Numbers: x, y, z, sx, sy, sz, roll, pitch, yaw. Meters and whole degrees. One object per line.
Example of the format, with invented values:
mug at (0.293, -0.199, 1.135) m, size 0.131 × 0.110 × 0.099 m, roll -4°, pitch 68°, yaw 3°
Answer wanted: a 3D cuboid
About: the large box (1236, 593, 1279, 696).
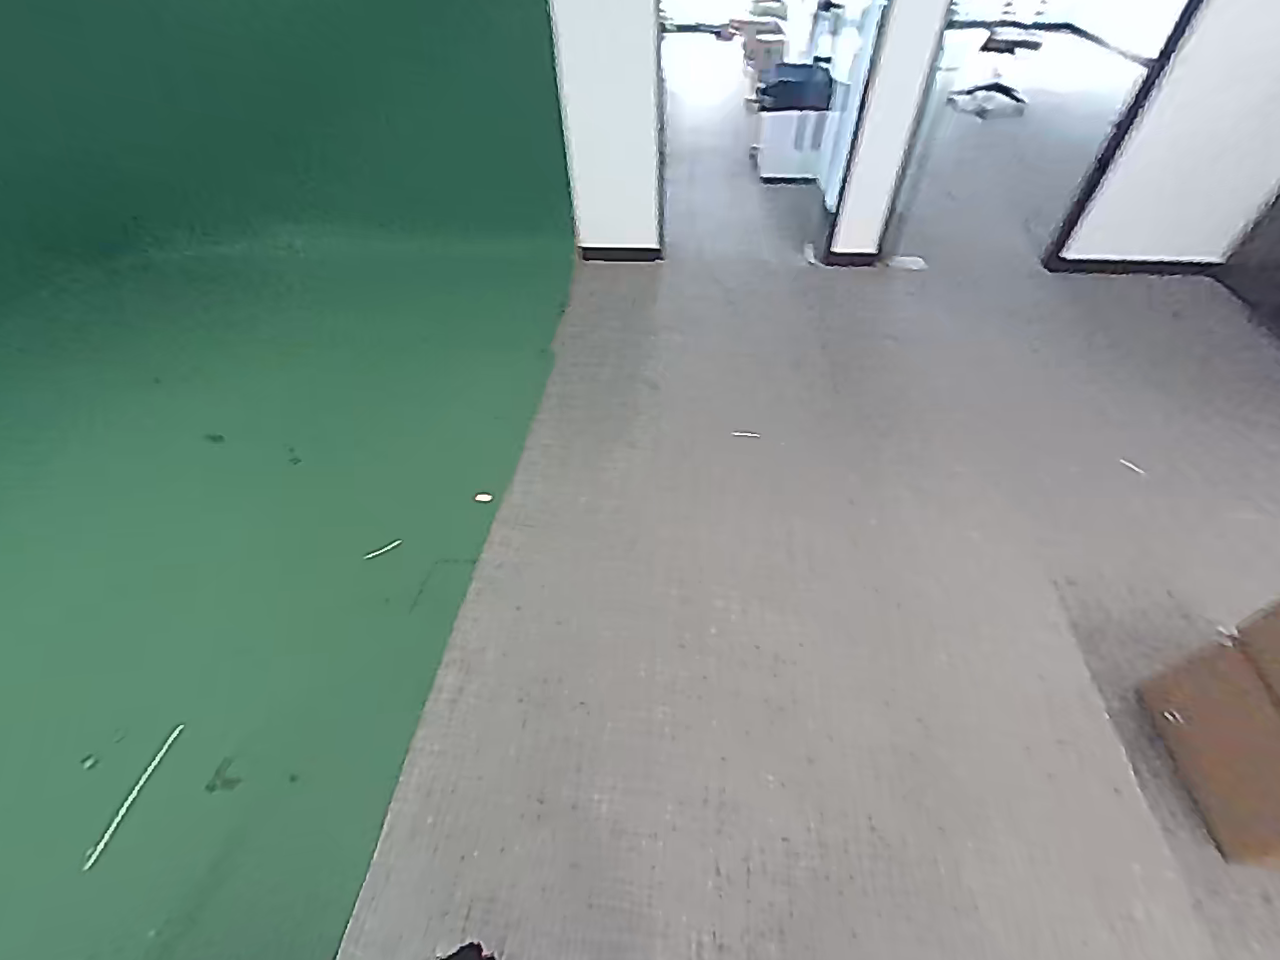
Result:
large box at (1.463, 0.381, 0.973) m, size 0.320 × 0.320 × 0.408 m, roll 1°, pitch 48°, yaw 9°
